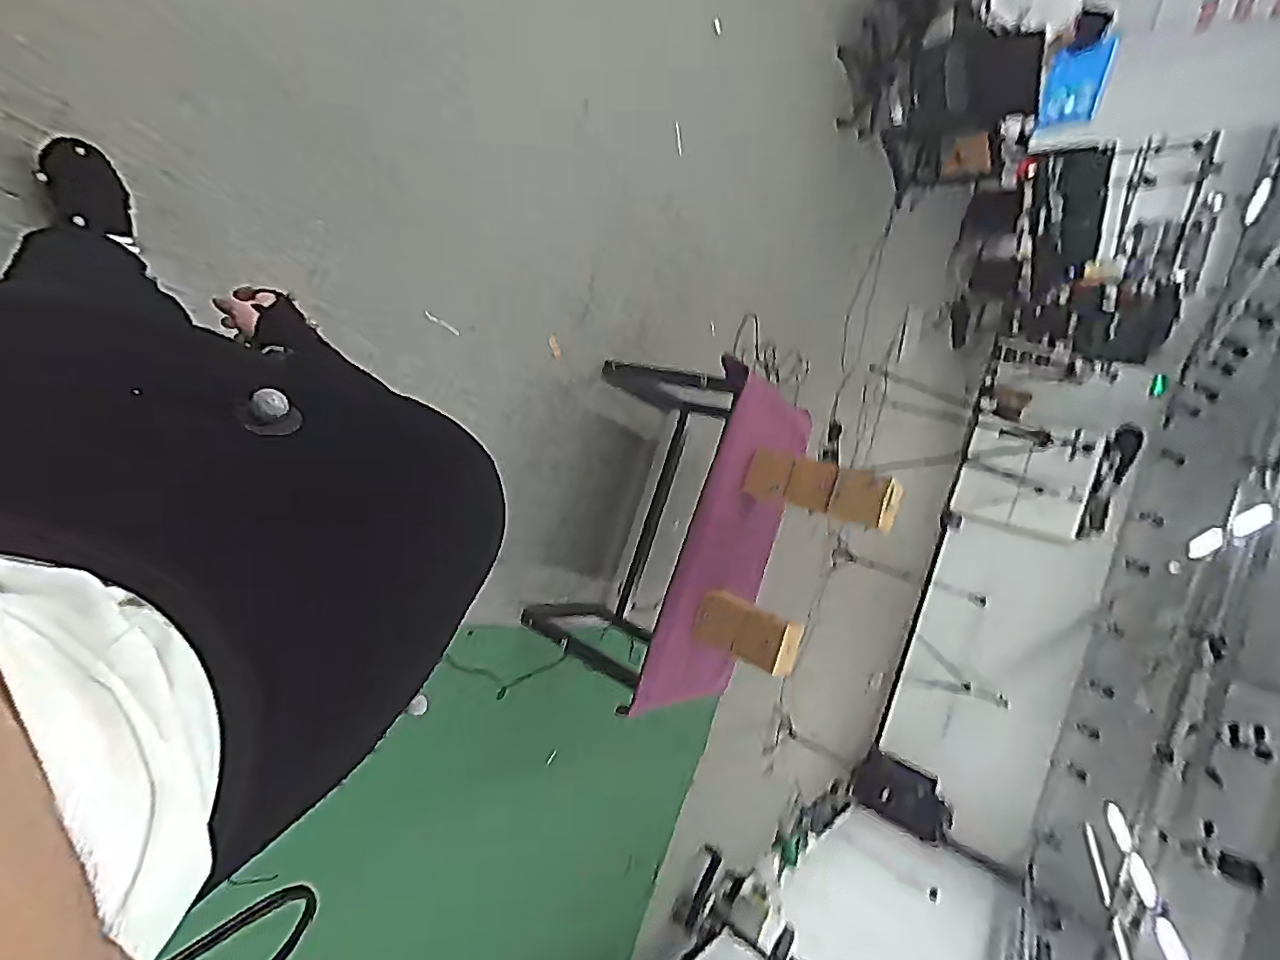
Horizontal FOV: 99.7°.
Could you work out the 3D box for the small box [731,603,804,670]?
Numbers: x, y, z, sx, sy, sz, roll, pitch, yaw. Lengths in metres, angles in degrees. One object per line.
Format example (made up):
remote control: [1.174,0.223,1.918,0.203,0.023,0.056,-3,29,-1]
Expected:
small box: [0.439,0.537,1.873,0.168,0.176,0.179,21,88,-51]

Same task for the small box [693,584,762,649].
small box: [0.315,0.495,1.973,0.168,0.176,0.179,18,90,-53]

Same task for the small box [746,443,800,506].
small box: [0.515,-0.022,2.004,0.168,0.176,0.179,21,88,-52]

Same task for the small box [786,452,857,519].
small box: [0.634,0.018,1.902,0.168,0.176,0.179,21,88,-51]
